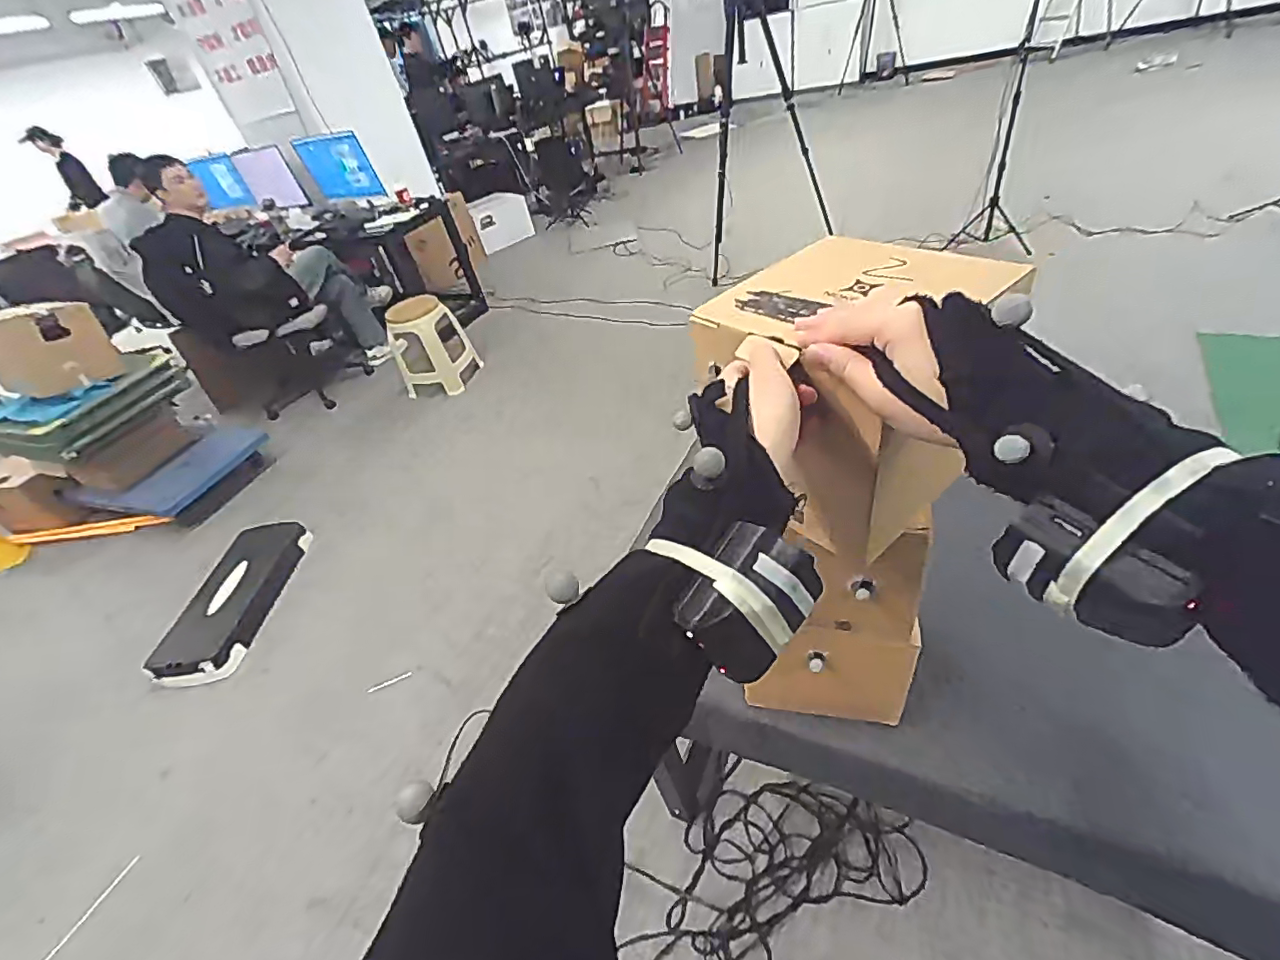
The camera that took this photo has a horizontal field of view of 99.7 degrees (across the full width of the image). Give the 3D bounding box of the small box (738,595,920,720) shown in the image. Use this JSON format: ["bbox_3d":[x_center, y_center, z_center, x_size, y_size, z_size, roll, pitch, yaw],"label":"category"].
[{"bbox_3d":[0.219,0.166,0.649,0.179,0.176,0.168,1,42,18],"label":"small box"}]

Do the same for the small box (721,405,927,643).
[{"bbox_3d":[0.185,0.041,0.551,0.168,0.176,0.179,3,41,19],"label":"small box"}]
